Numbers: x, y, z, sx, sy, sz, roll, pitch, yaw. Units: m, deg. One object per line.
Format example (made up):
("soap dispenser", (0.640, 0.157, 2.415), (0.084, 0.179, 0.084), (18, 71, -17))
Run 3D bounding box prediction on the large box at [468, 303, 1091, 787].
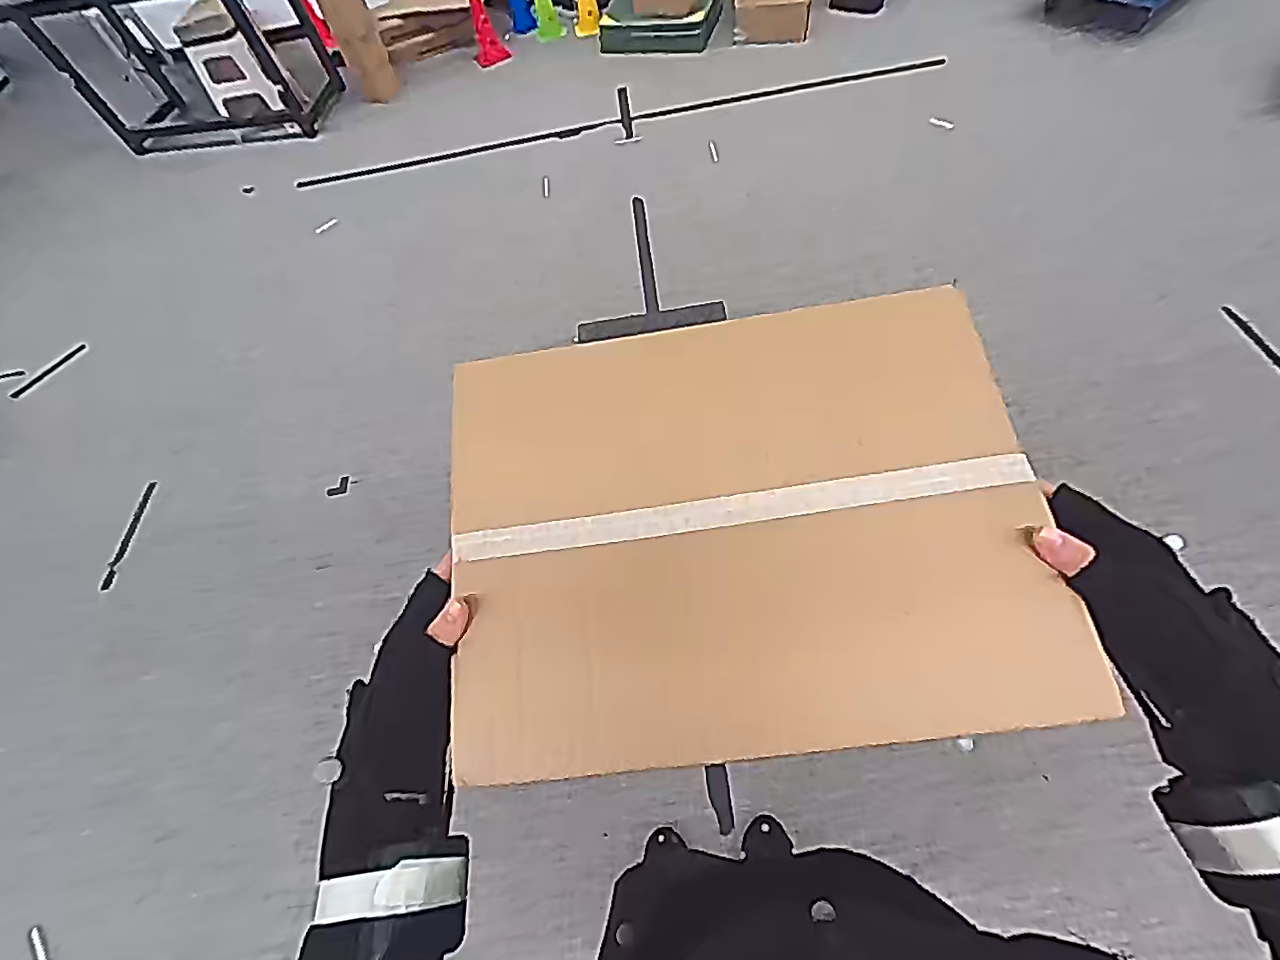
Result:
("large box", (0.086, 0.078, 0.535), (0.408, 0.320, 0.320), (-9, 69, 4))
